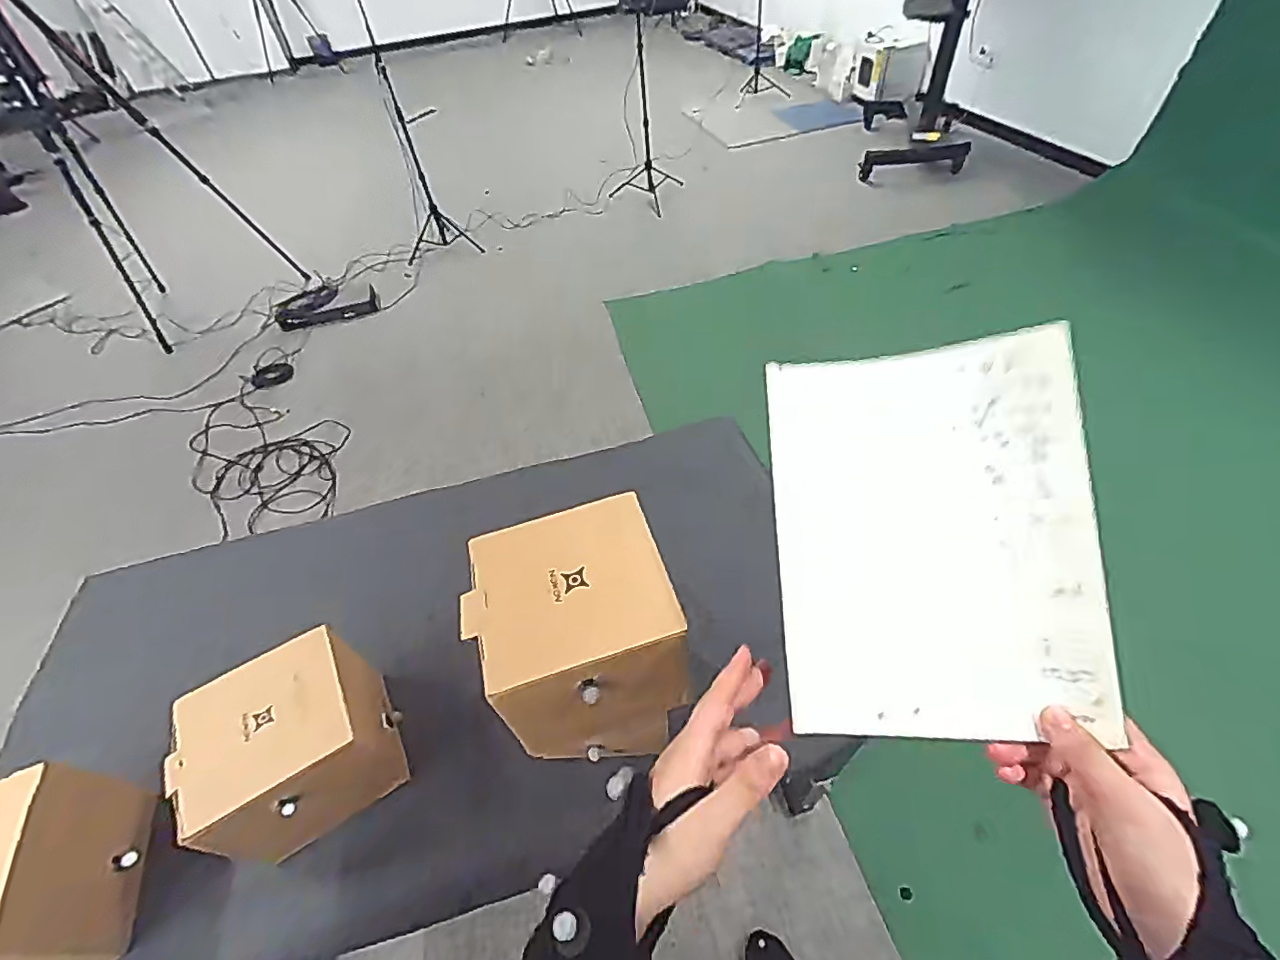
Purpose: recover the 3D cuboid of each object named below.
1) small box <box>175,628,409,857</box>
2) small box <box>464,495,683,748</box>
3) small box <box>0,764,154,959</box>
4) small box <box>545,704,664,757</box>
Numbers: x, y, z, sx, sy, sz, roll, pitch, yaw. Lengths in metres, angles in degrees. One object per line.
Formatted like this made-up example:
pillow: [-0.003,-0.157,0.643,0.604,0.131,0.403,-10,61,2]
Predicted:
small box: [-0.418,0.324,0.664,0.179,0.176,0.168,-28,52,-18]
small box: [-0.062,0.147,0.557,0.179,0.176,0.168,-17,49,-7]
small box: [-0.683,0.448,0.584,0.168,0.176,0.179,-20,50,-11]
small box: [-0.058,0.237,0.695,0.168,0.176,0.179,-5,49,4]
